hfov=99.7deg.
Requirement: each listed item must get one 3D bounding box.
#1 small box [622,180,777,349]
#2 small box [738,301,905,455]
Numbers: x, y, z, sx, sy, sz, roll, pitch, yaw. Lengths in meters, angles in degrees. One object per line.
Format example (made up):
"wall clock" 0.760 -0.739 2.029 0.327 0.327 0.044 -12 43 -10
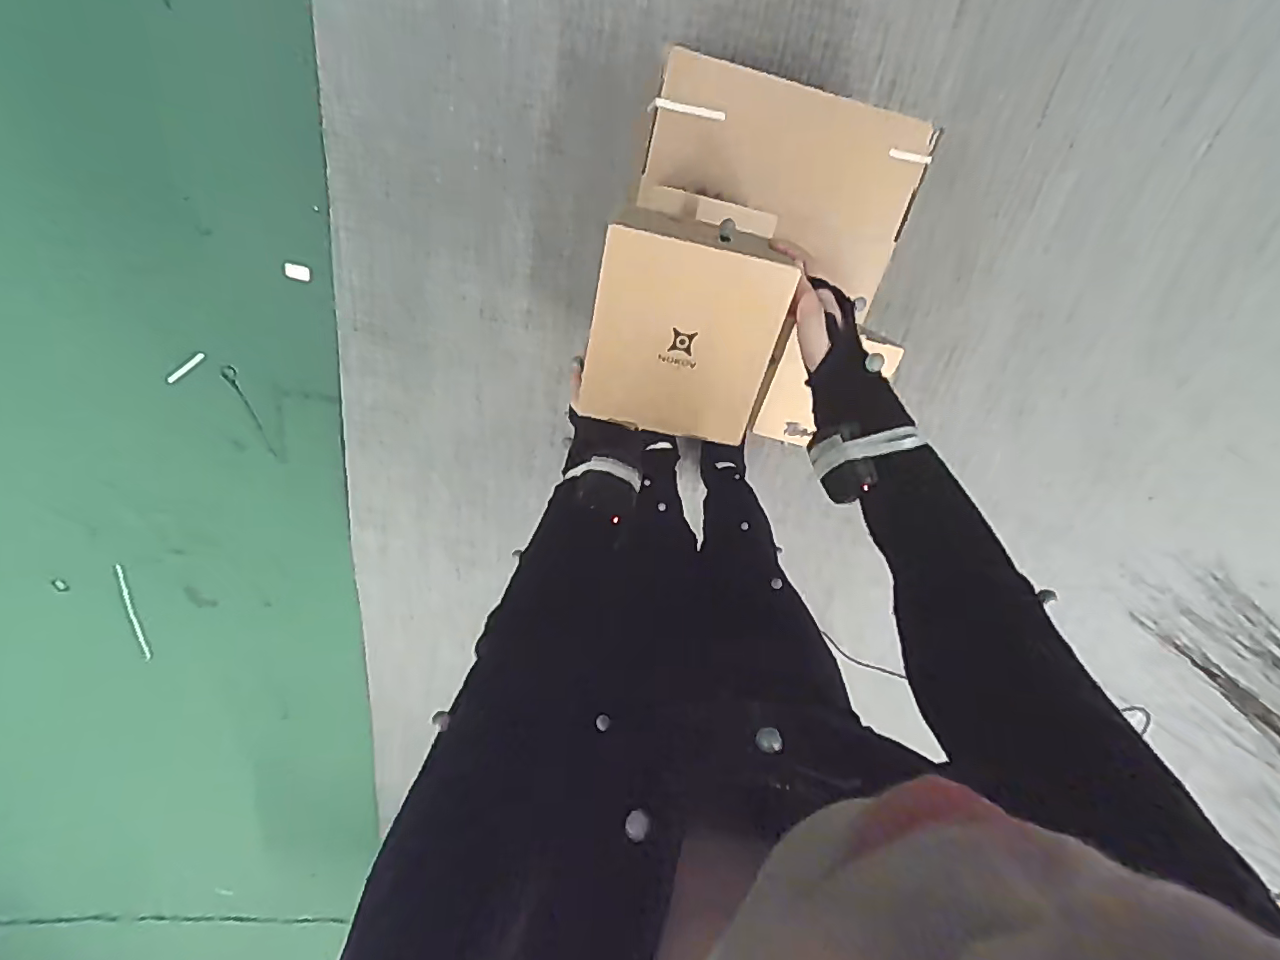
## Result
"small box" 0.074 -0.307 0.771 0.168 0.176 0.179 12 115 -6
"small box" 0.263 -0.166 0.838 0.168 0.176 0.179 14 115 -7
